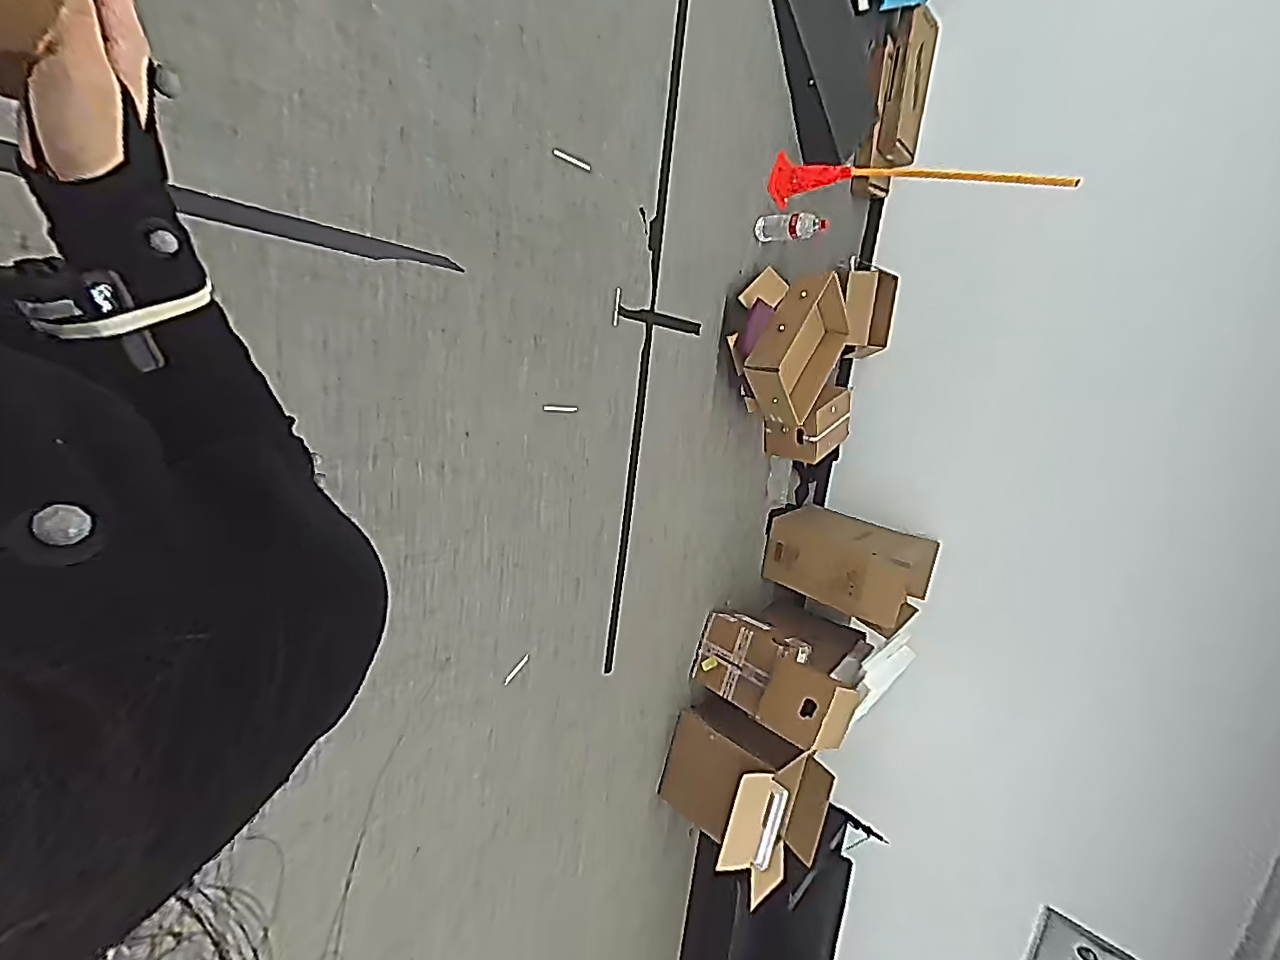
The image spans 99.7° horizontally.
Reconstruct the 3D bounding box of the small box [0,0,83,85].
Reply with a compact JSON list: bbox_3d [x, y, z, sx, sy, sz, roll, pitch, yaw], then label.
[{"bbox_3d":[-0.302,-0.260,0.161,0.168,0.176,0.179,-11,110,-53],"label":"small box"}]
